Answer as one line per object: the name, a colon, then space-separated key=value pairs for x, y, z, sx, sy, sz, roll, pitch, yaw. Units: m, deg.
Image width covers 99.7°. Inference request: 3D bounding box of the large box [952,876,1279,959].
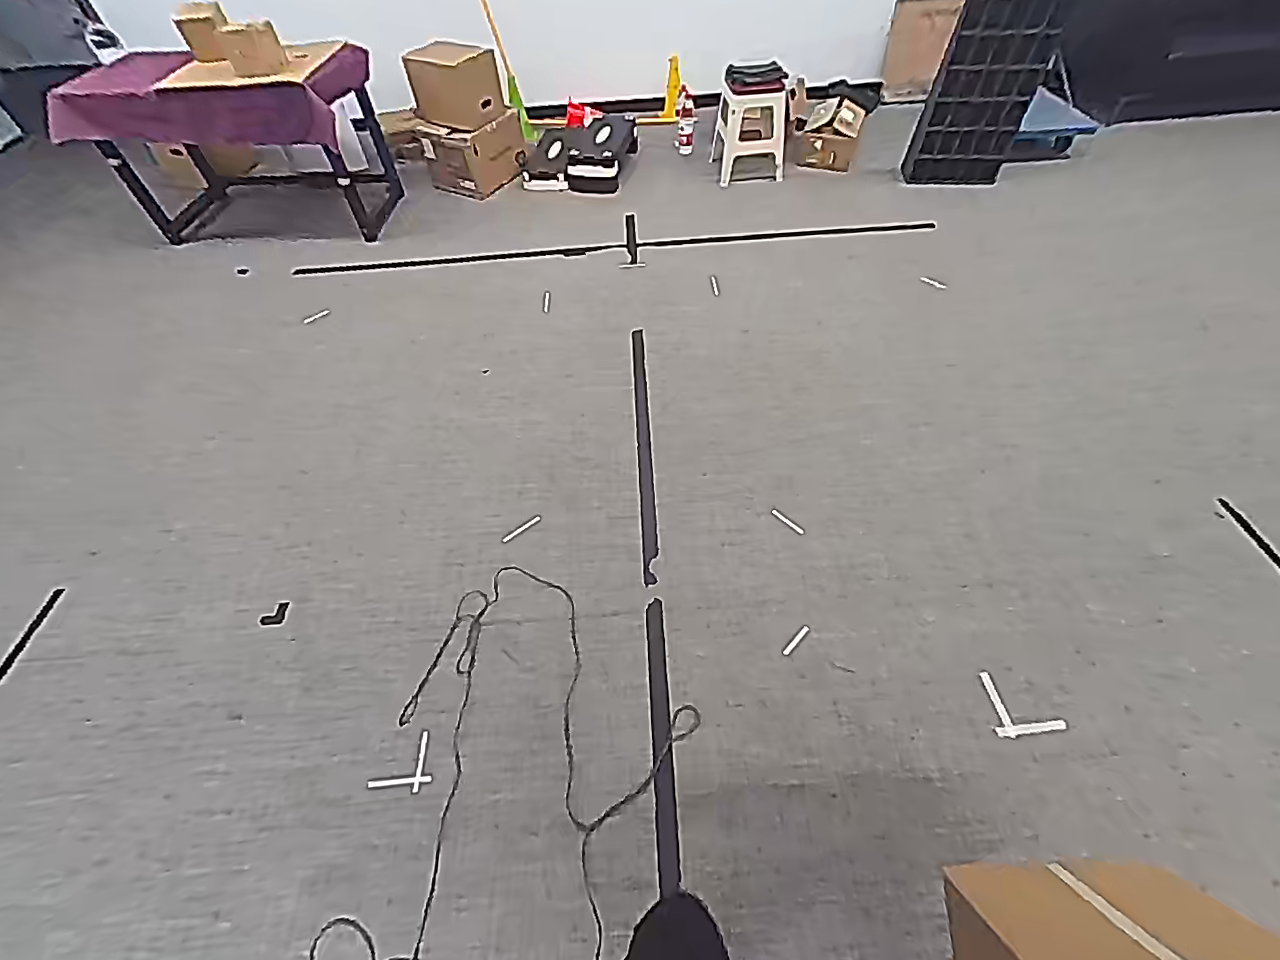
large box: x=0.603 y=0.707 z=0.580 sx=0.320 sy=0.408 sz=0.320 roll=-4 pitch=81 yaw=4
